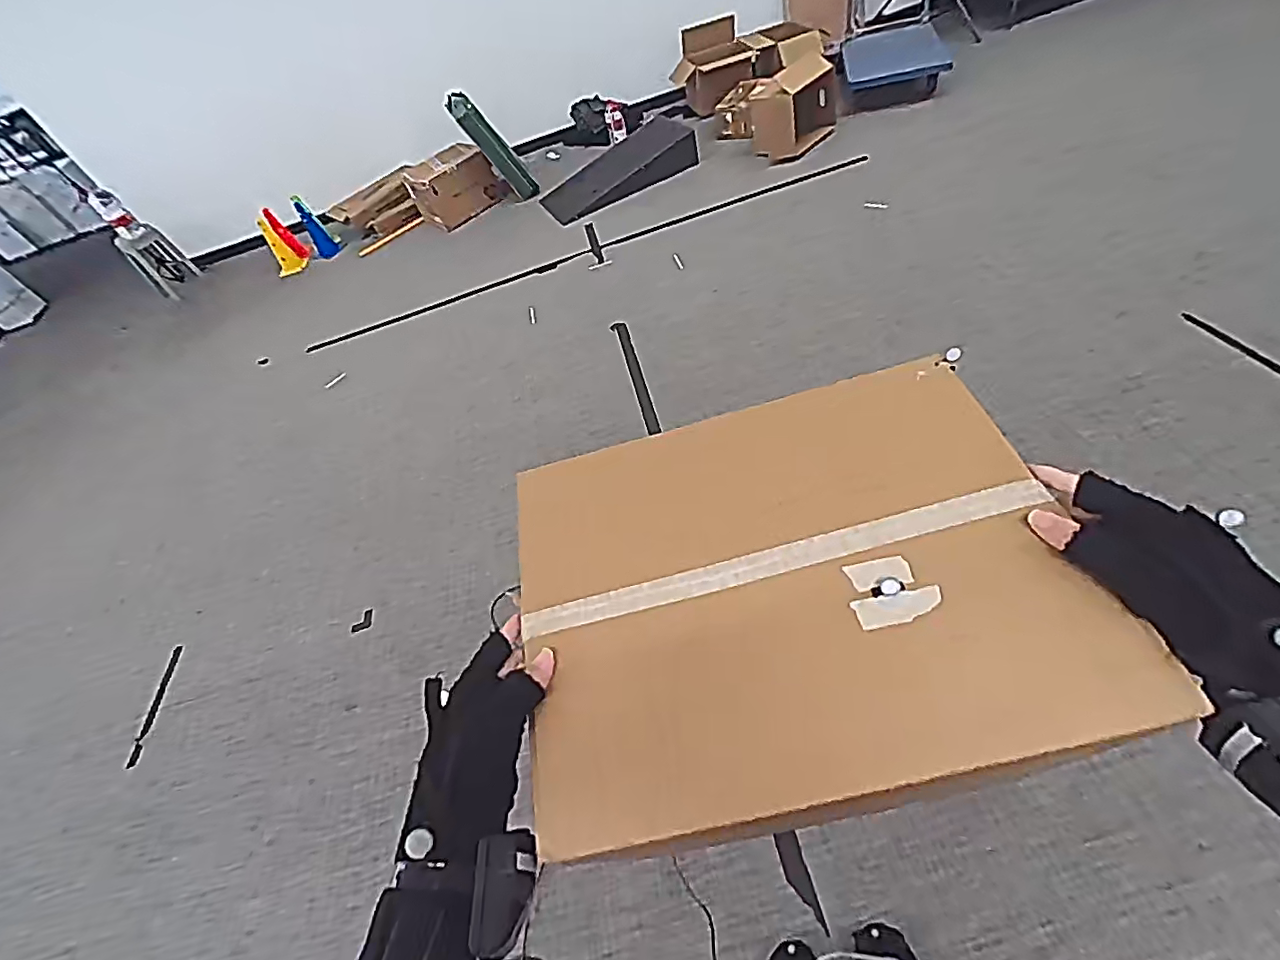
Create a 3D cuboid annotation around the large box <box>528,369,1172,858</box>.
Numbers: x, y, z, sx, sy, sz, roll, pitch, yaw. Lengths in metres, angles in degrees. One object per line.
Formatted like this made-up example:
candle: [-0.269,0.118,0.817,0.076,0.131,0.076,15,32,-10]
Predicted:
large box: [0.138,0.152,0.545,0.408,0.320,0.320,-16,54,4]
